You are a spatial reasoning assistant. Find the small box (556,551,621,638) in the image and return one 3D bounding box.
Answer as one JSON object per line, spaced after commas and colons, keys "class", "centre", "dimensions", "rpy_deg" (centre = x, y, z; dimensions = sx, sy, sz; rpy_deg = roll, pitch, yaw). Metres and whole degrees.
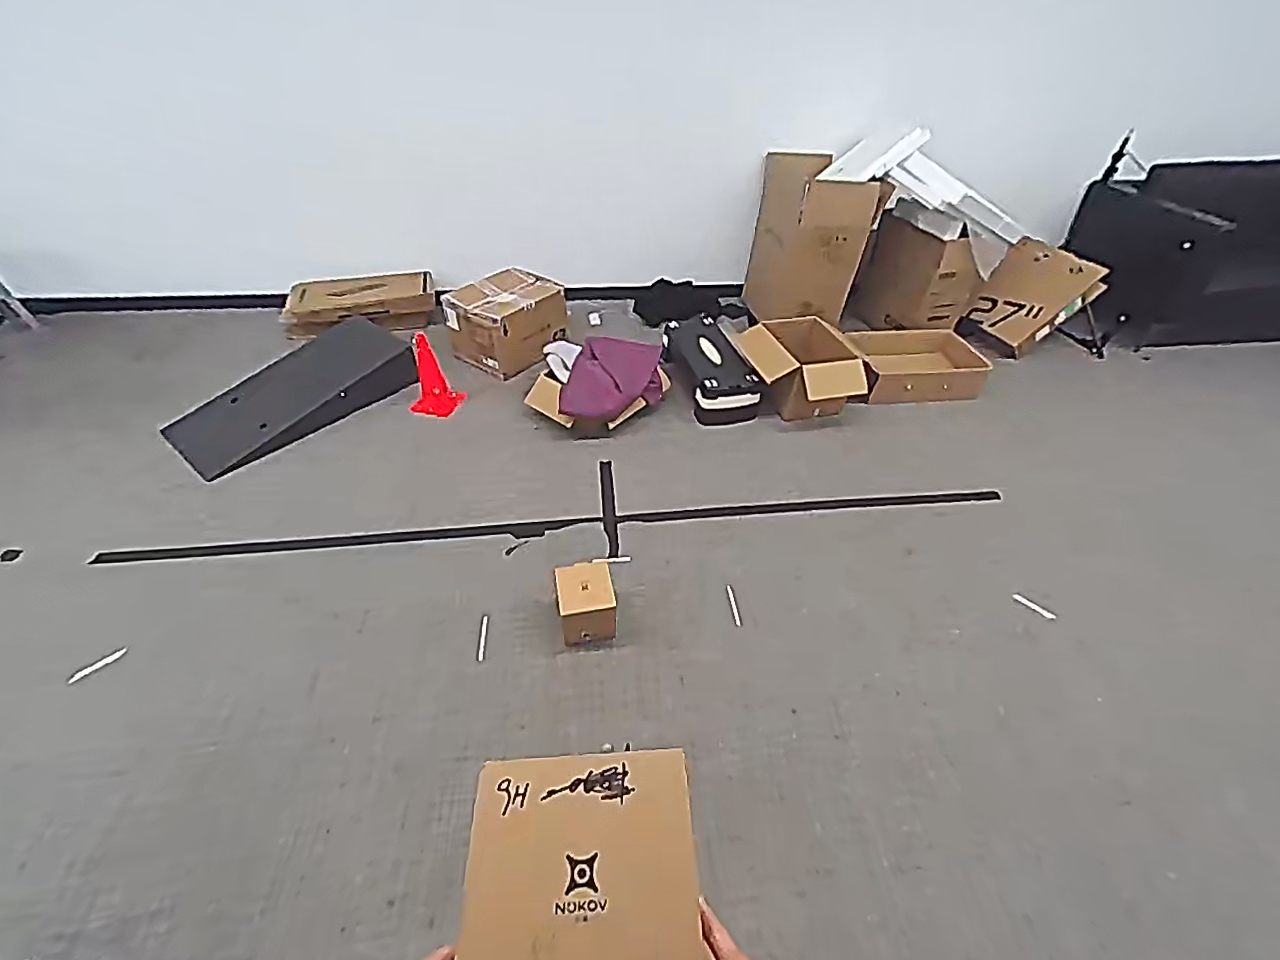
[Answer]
{"class": "small box", "centre": [-0.154, 0.337, 1.591], "dimensions": [0.168, 0.176, 0.179], "rpy_deg": [-8, 45, -11]}
